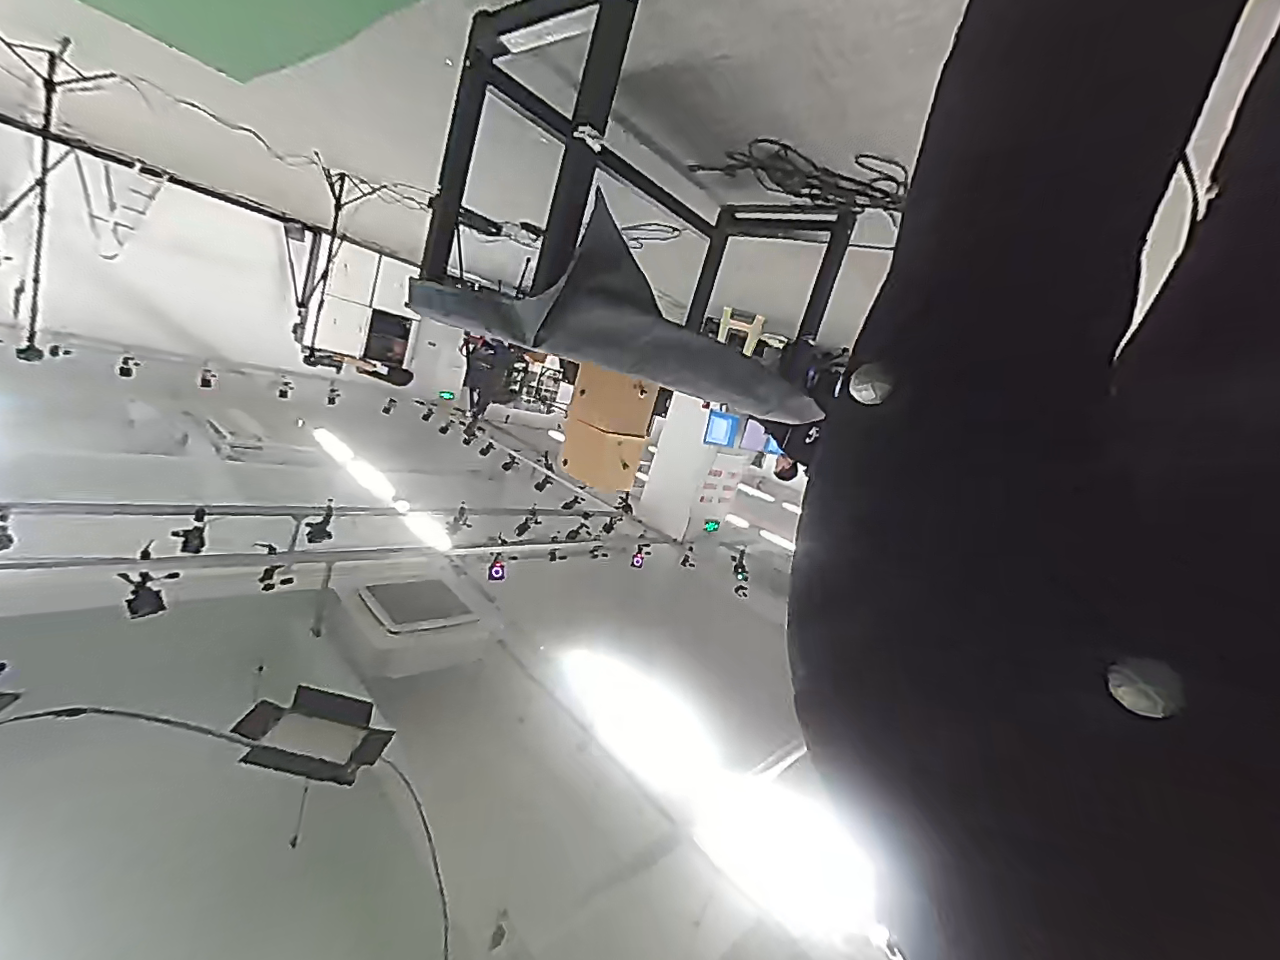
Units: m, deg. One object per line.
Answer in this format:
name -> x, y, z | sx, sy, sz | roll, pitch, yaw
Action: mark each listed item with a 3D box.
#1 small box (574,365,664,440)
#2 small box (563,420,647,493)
small box -> -0.057, -0.226, 1.556 | 0.179, 0.176, 0.168 | 26, -165, 39
small box -> -0.097, -0.071, 1.585 | 0.179, 0.176, 0.168 | 28, -164, 40
